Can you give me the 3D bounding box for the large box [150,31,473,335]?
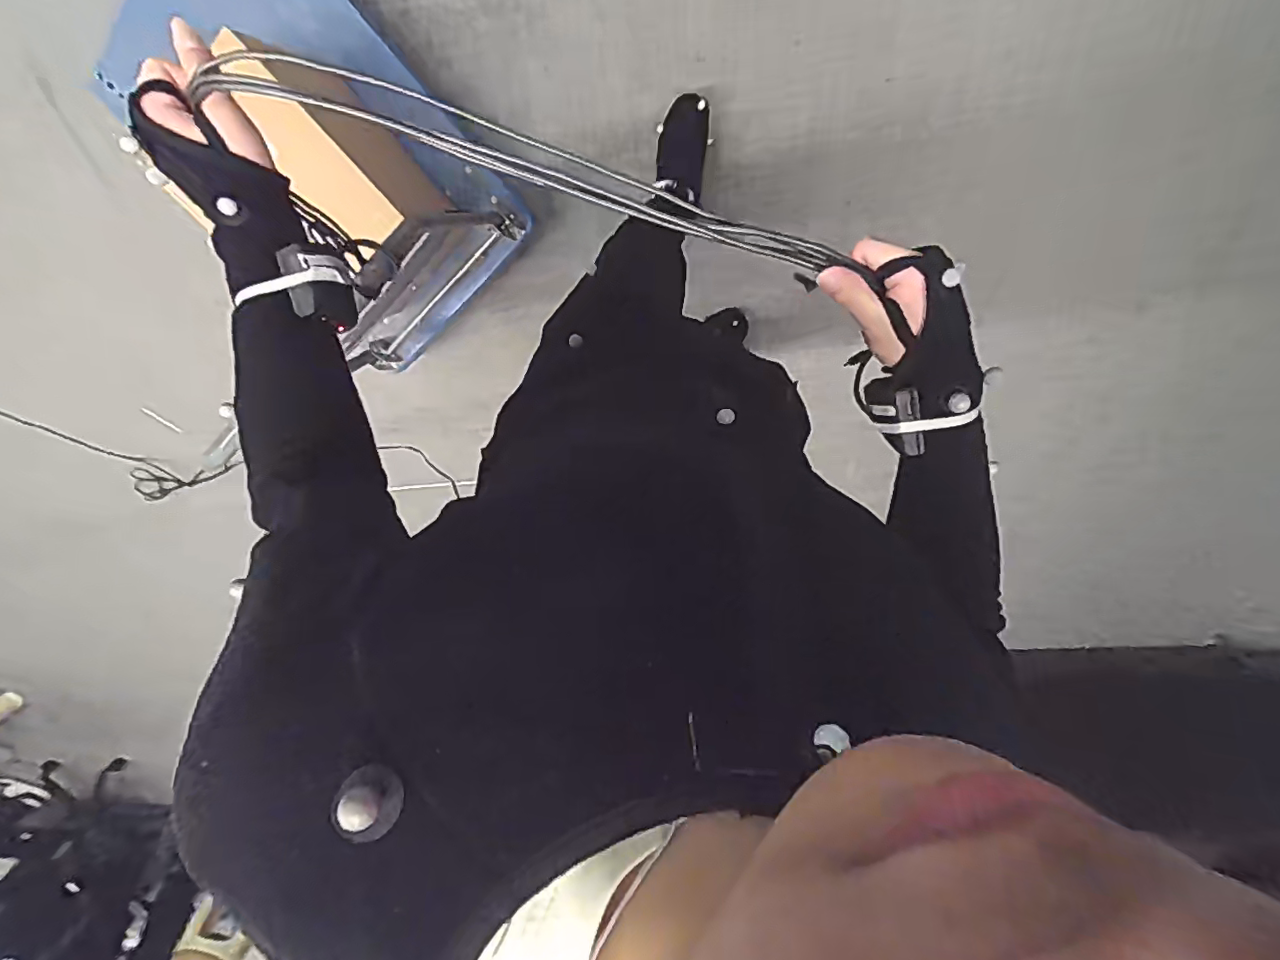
[{"bbox_3d":[-0.634,-0.574,1.115,0.320,0.320,0.408,-37,107,20],"label":"large box"}]
